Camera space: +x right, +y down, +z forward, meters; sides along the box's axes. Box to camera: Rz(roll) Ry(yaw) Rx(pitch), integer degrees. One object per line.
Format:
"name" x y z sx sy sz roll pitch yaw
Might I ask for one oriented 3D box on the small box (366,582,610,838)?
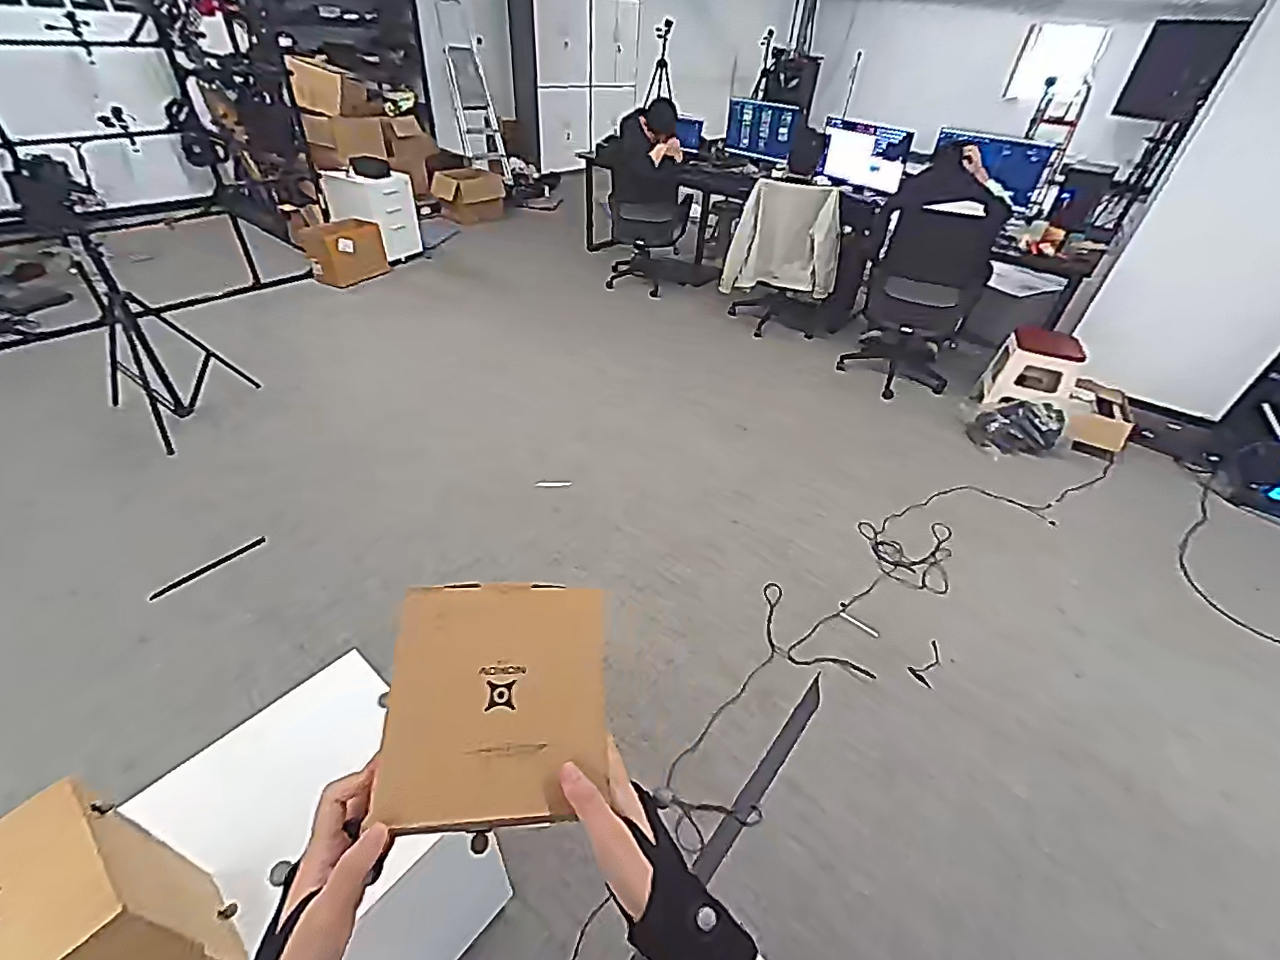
"small box" -0.125 0.205 0.479 0.168 0.176 0.179 3 56 -13

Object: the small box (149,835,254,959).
"small box" -0.580 0.565 0.616 0.179 0.176 0.168 29 45 29

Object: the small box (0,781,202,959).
"small box" -0.568 0.440 0.512 0.179 0.176 0.168 29 45 27
